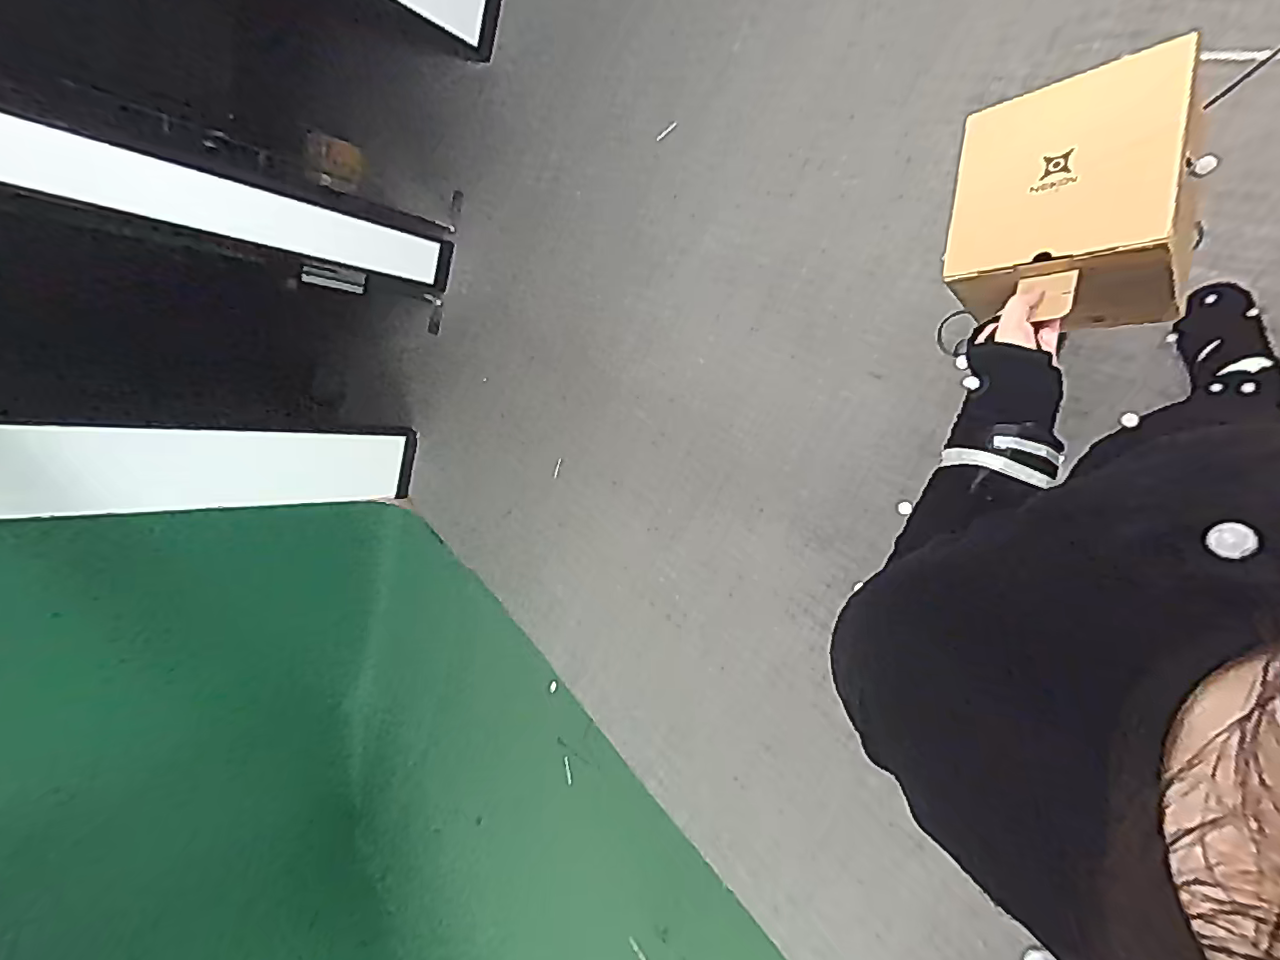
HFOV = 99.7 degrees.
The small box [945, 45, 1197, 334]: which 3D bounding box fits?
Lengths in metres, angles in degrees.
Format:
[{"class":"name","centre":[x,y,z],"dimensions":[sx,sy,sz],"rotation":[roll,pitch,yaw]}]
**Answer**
[{"class":"small box","centre":[0.438,-0.268,0.550],"dimensions":[0.168,0.176,0.179],"rotation":[8,86,47]}]
